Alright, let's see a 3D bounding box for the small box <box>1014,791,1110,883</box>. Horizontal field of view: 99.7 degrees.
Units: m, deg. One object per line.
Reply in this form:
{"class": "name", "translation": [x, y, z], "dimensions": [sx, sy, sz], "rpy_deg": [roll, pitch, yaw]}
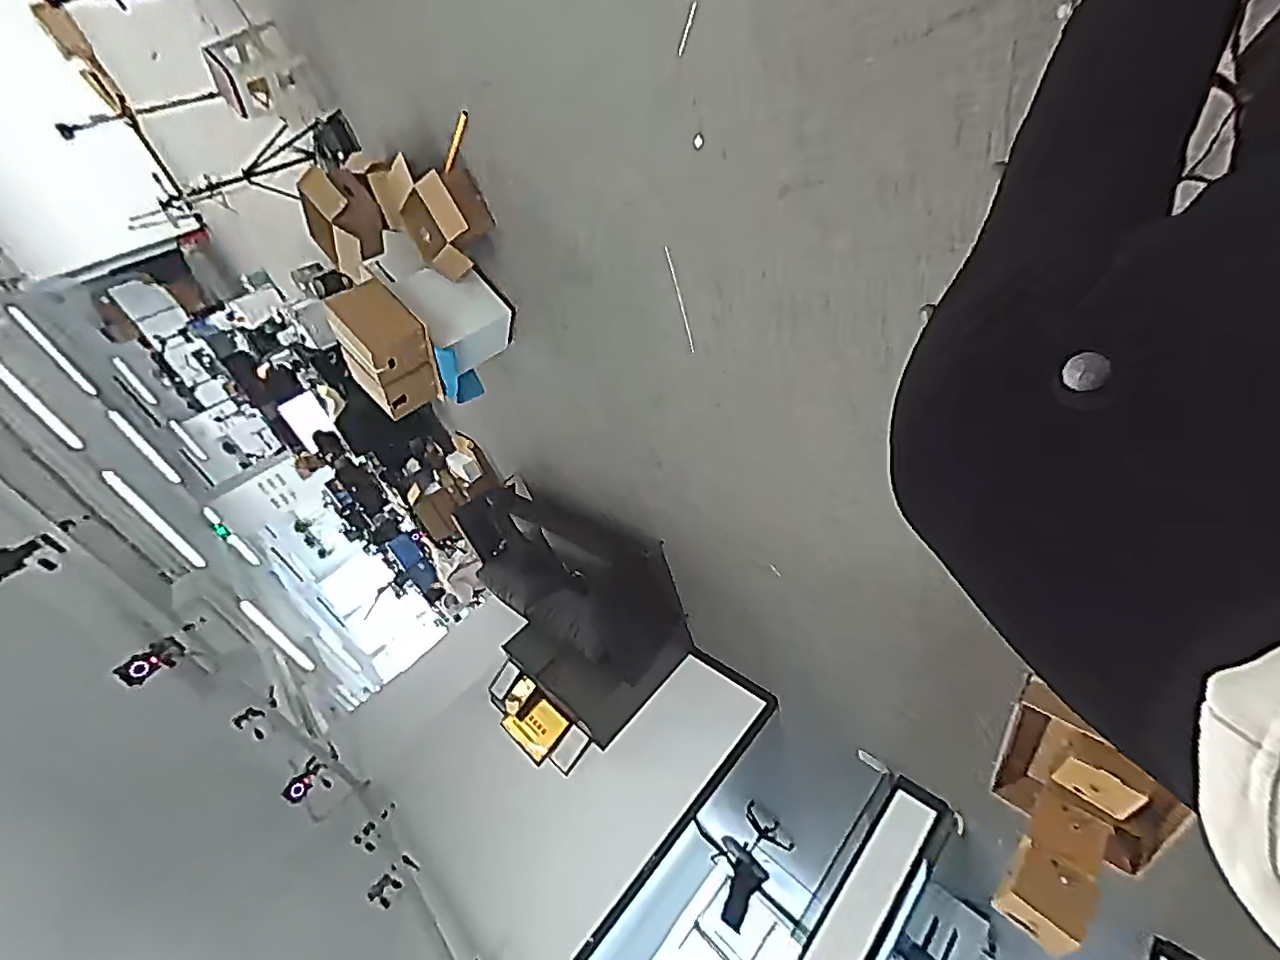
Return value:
{"class": "small box", "translation": [1.208, 1.045, 1.551], "dimensions": [0.168, 0.176, 0.179], "rpy_deg": [22, 140, 43]}

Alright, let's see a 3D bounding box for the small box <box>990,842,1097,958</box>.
{"class": "small box", "translation": [1.099, 1.140, 1.473], "dimensions": [0.168, 0.176, 0.179], "rpy_deg": [30, 144, 35]}

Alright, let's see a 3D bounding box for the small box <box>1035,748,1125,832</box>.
{"class": "small box", "translation": [1.321, 0.959, 1.629], "dimensions": [0.168, 0.176, 0.179], "rpy_deg": [22, 140, 42]}
